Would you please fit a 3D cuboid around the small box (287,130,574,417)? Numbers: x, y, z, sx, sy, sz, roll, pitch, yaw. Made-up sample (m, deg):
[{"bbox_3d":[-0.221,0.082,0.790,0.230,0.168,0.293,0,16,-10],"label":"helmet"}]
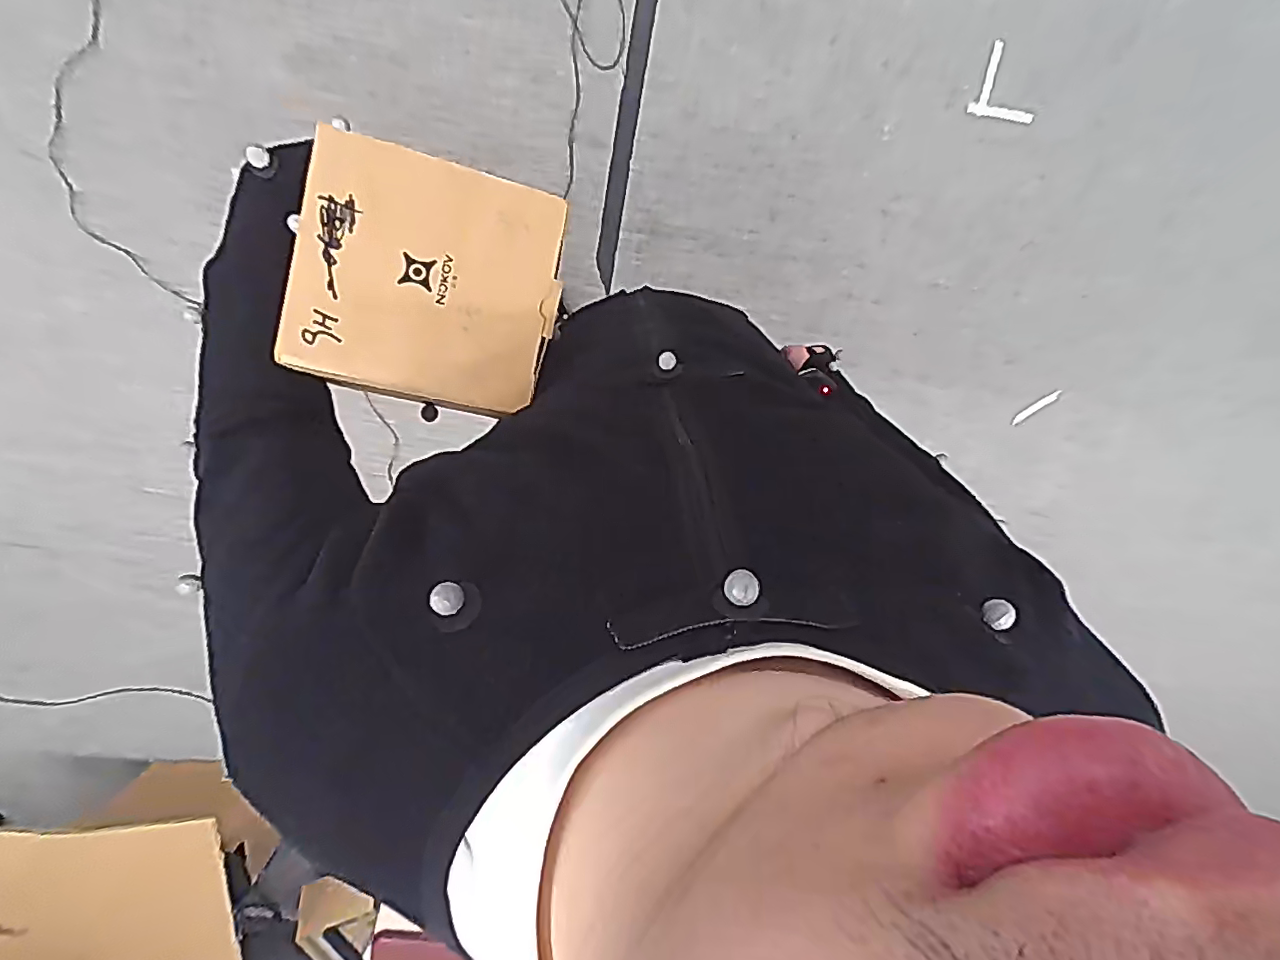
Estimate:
[{"bbox_3d":[-0.168,-0.152,0.472,0.179,0.176,0.168,11,90,-15],"label":"small box"}]
